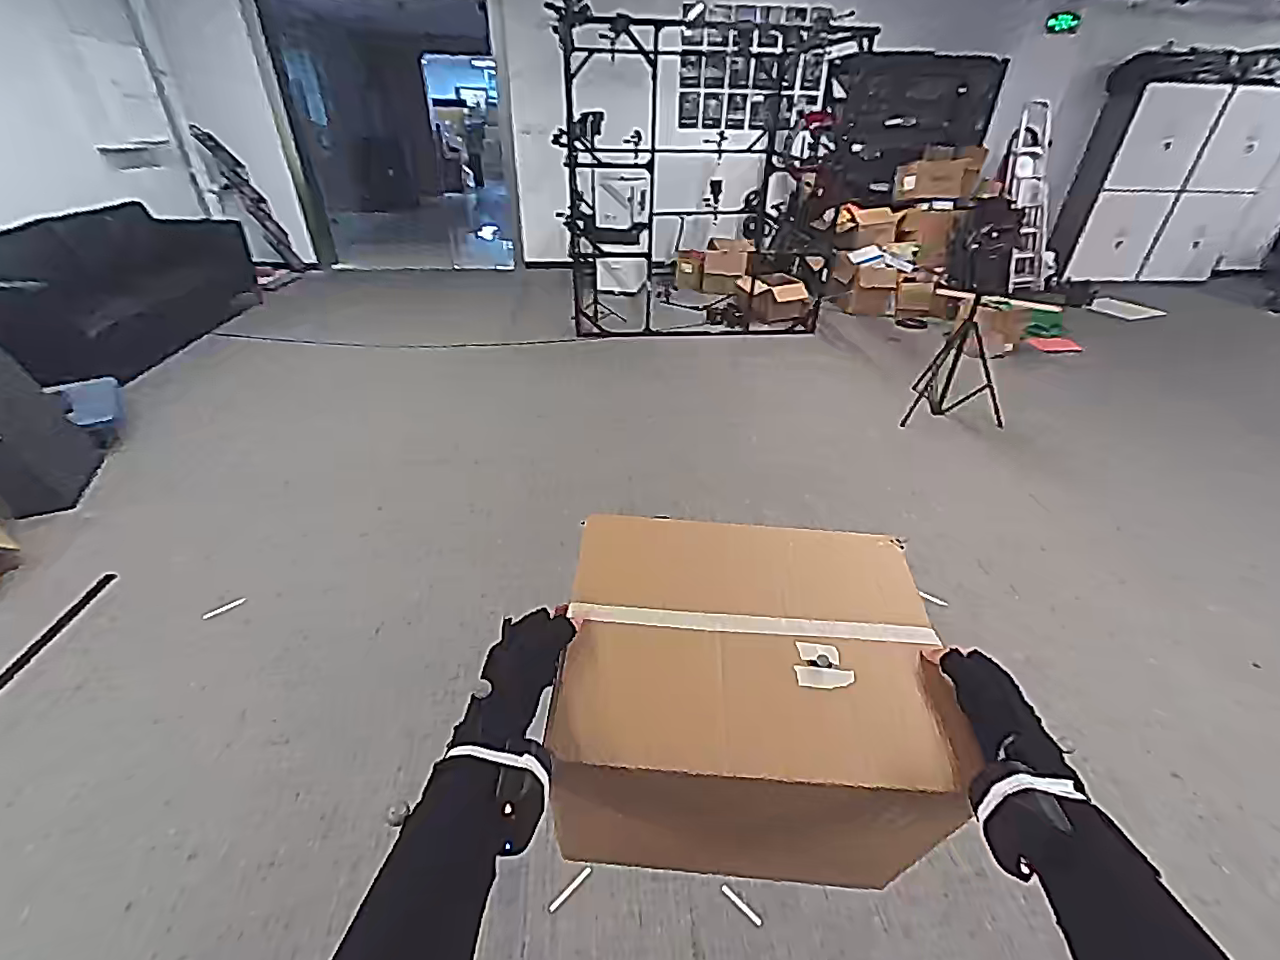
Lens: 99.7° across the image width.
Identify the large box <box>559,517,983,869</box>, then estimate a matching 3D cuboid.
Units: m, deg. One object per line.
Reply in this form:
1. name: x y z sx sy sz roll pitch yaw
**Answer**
1. large box: 0.121 0.273 0.707 0.408 0.320 0.320 4 42 2
